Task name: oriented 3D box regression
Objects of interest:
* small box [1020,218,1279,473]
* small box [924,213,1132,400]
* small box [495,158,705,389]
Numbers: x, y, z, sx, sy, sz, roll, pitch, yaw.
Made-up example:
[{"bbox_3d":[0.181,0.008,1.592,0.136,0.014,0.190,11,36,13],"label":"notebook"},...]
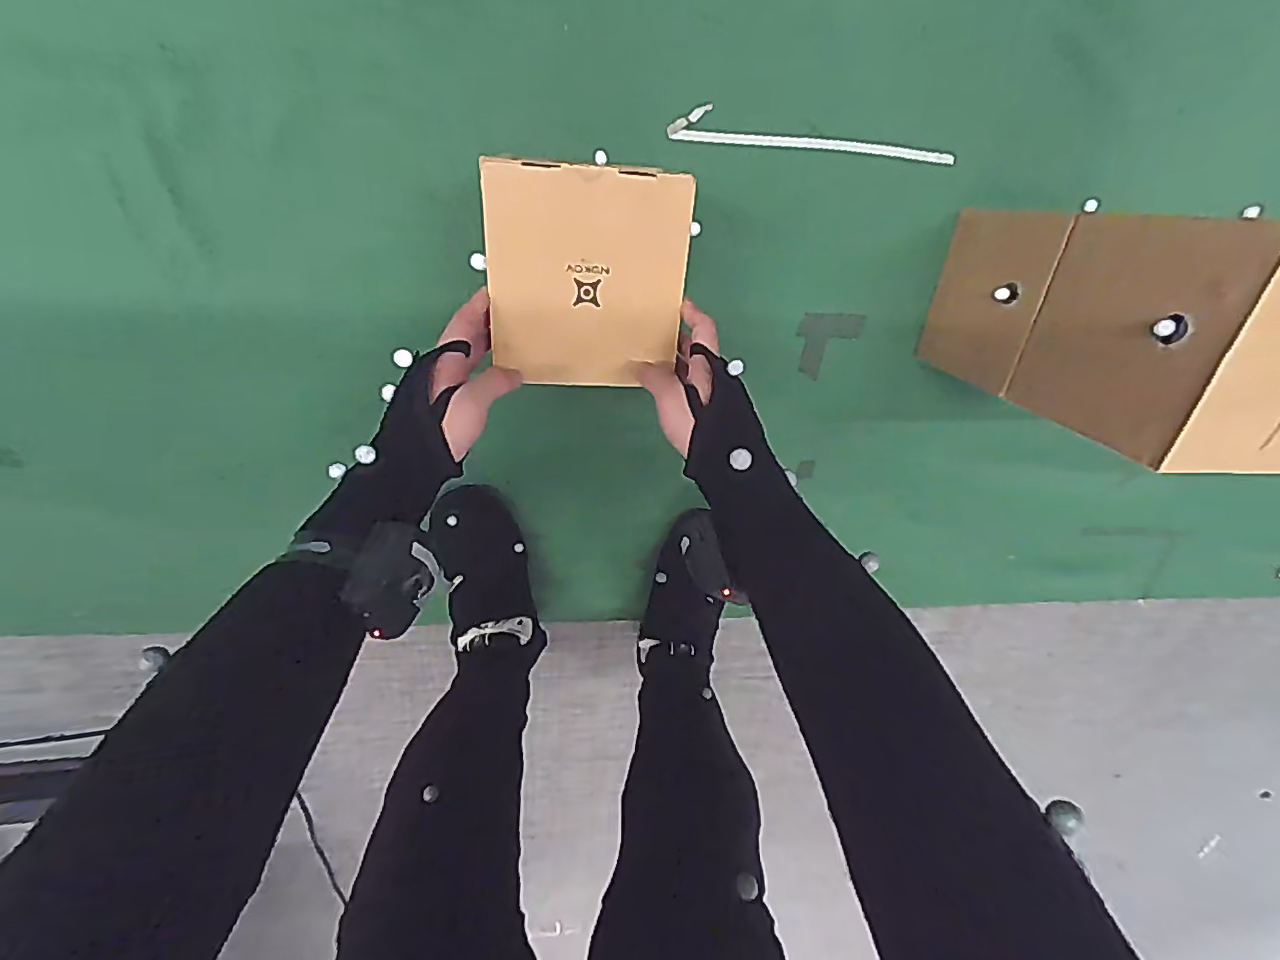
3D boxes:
[{"bbox_3d":[0.476,-0.119,0.459,0.168,0.176,0.179,1,117,-8],"label":"small box"},{"bbox_3d":[0.455,-0.194,0.603,0.168,0.176,0.179,2,117,-8],"label":"small box"},{"bbox_3d":[-0.044,-0.202,0.524,0.168,0.176,0.179,1,119,-9],"label":"small box"}]
